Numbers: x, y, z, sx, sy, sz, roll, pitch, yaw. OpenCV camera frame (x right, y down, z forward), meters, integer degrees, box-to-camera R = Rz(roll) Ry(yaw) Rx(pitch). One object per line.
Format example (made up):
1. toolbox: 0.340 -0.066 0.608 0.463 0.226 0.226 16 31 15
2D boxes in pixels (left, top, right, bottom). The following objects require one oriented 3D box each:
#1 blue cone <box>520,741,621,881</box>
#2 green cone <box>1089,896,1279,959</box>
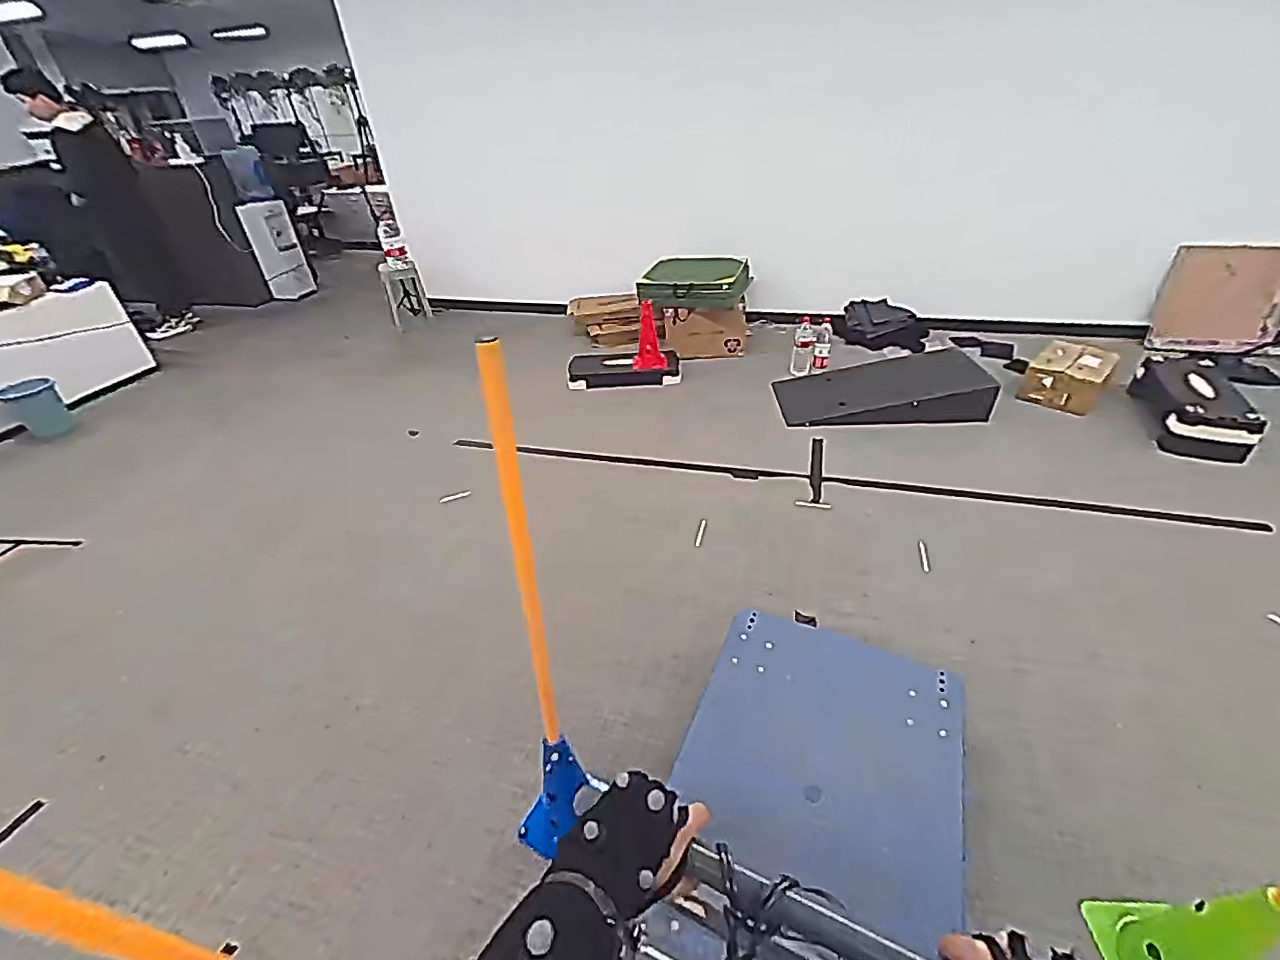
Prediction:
1. blue cone: -0.167 0.670 1.169 0.193 0.380 0.192 17 41 26
2. green cone: 0.980 0.769 0.903 0.200 0.368 0.202 -1 37 3
